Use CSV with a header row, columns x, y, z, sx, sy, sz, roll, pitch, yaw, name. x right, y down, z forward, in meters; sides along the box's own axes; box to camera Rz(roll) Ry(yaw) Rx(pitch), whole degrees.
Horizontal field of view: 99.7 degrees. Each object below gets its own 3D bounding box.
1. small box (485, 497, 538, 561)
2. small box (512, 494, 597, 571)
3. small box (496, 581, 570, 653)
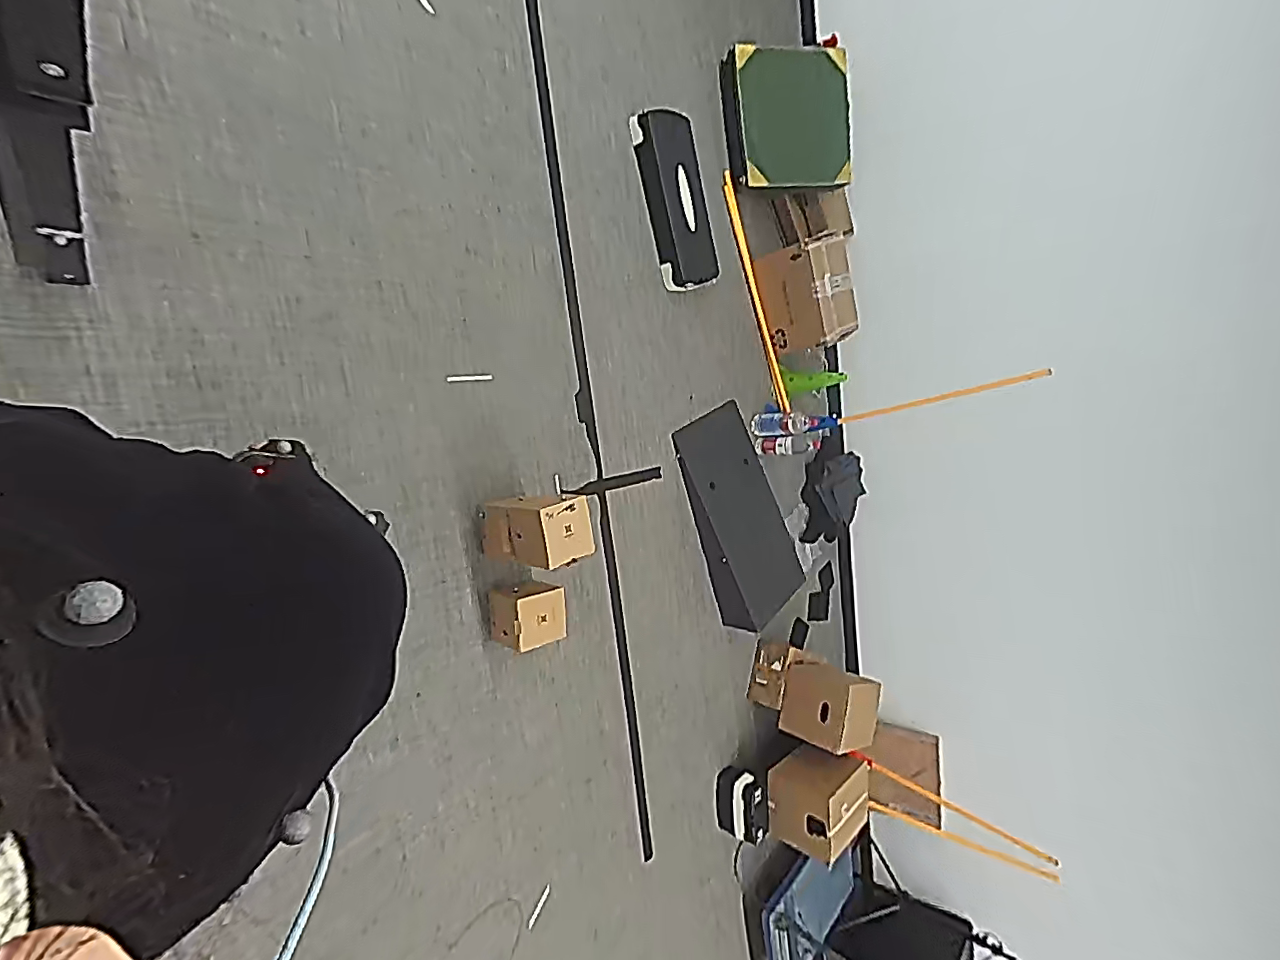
x,y,z,sx,sy,sz,roll,pitch,yaw,name
-0.367,0.147,1.679,0.179,0.176,0.168,-12,99,-45,small box
-0.249,0.144,1.564,0.168,0.176,0.179,-18,104,-44,small box
-0.343,0.426,1.711,0.179,0.176,0.168,-7,97,-45,small box
